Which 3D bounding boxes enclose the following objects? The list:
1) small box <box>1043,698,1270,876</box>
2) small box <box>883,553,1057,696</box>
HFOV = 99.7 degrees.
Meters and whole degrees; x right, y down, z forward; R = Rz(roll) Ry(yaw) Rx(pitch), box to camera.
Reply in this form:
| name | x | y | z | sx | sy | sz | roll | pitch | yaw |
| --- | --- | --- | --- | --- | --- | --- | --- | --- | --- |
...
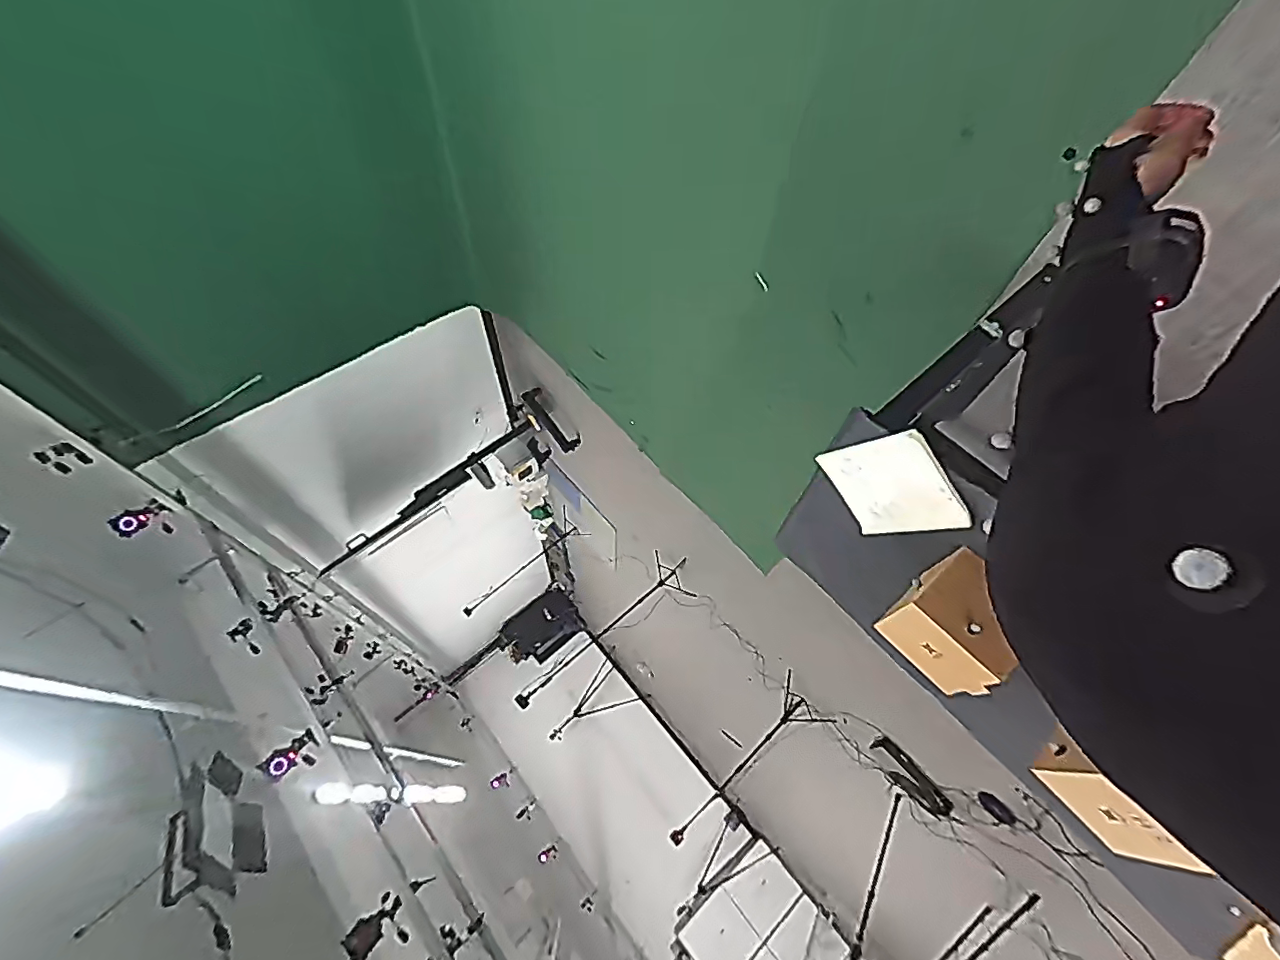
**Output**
| name | x | y | z | sx | sy | sz | roll | pitch | yaw |
| --- | --- | --- | --- | --- | --- | --- | --- | --- | --- |
| small box | 0.809 | 0.471 | 0.856 | 0.168 | 0.176 | 0.179 | 46 | 158 | 17 |
| small box | 0.592 | 0.255 | 0.982 | 0.179 | 0.176 | 0.168 | 45 | 158 | 20 |
